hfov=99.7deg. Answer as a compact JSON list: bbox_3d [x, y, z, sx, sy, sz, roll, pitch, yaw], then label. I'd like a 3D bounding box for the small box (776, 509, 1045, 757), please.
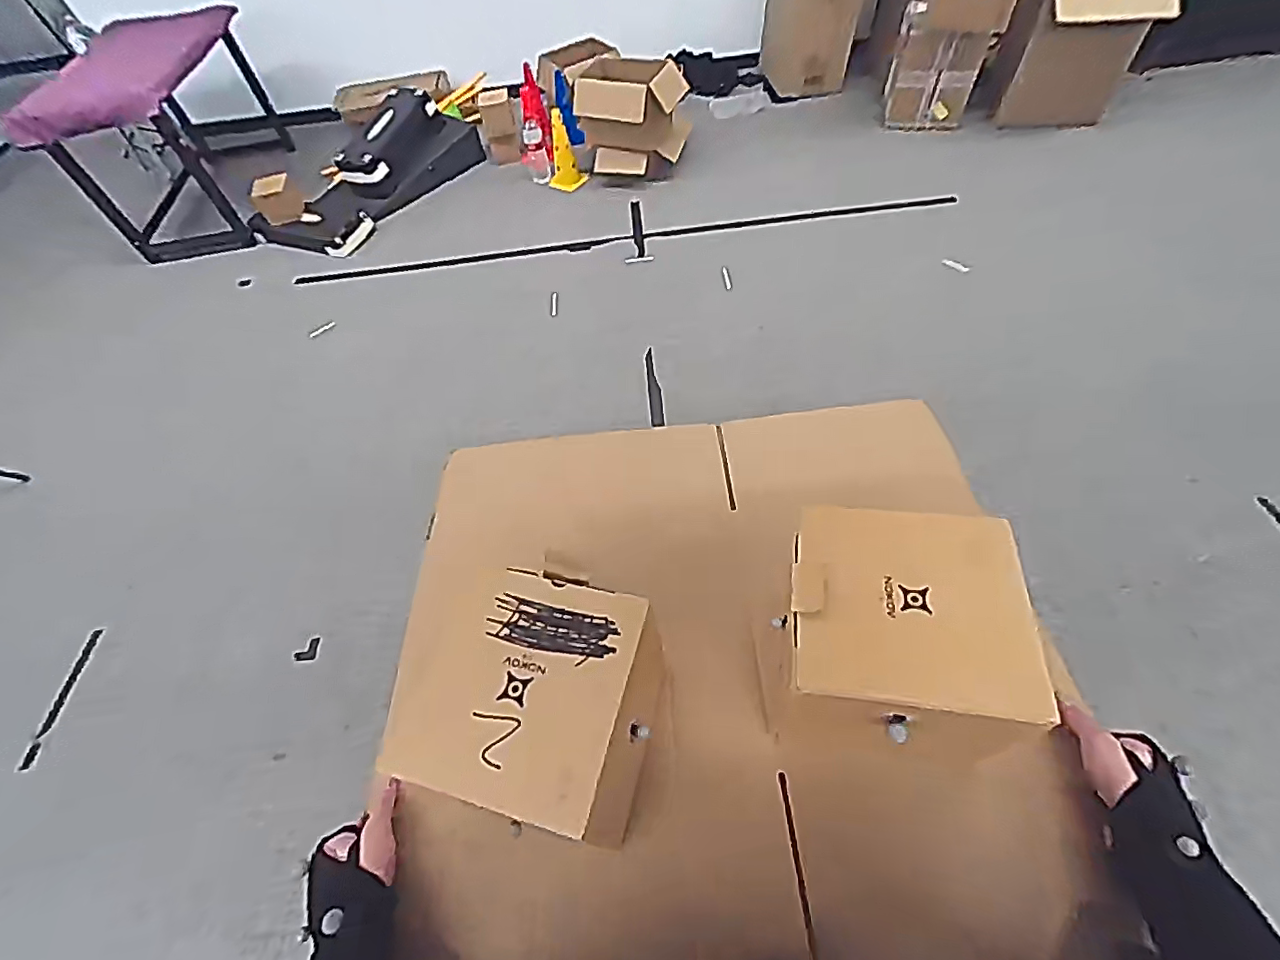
[{"bbox_3d":[0.224,0.145,0.502,0.179,0.176,0.168,3,54,13],"label":"small box"}]
